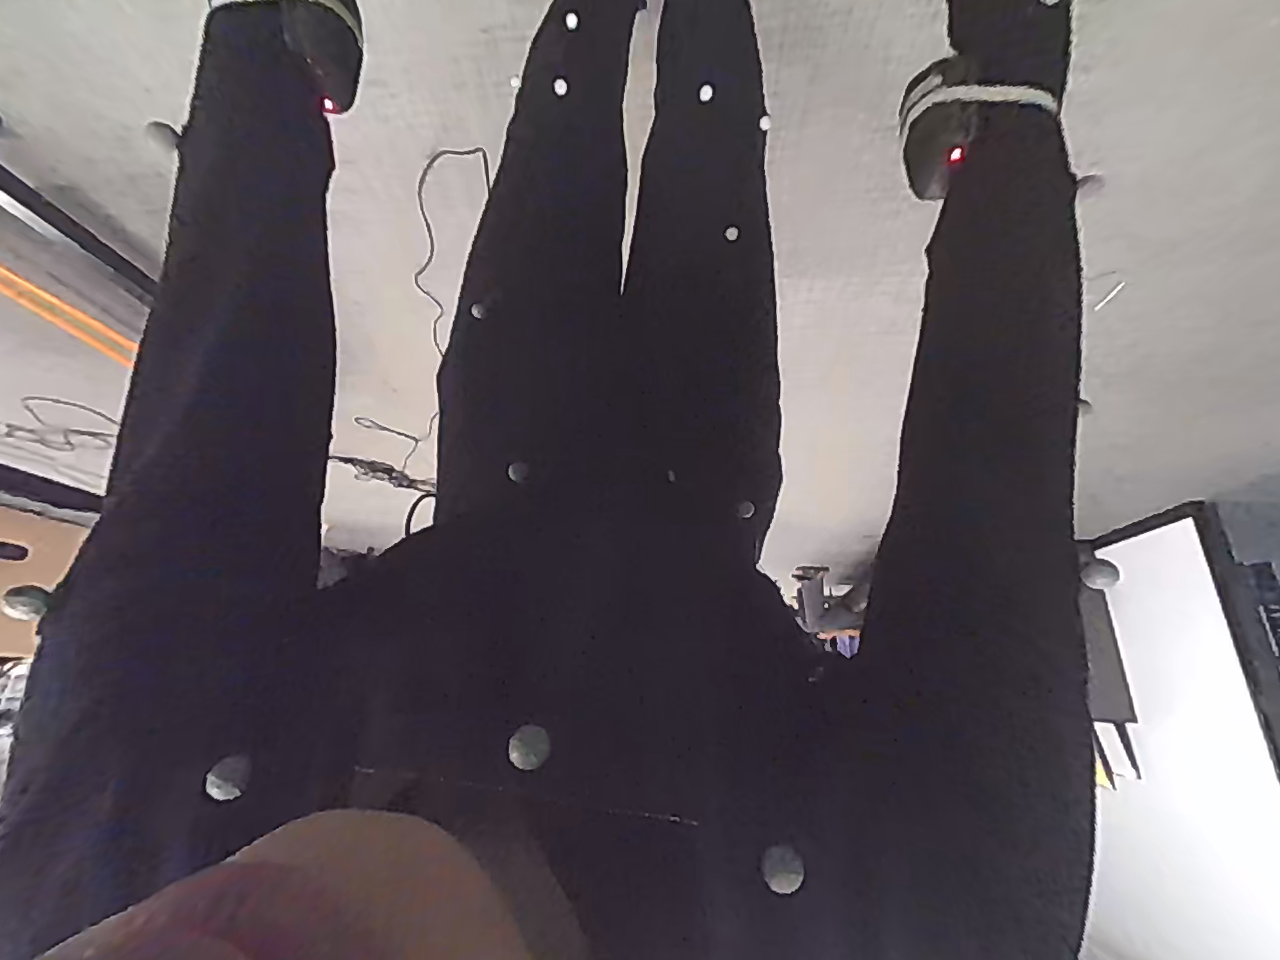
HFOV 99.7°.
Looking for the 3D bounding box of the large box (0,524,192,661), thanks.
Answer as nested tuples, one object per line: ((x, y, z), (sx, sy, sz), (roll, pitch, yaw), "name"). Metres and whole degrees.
((-1.554, 0.310, 1.450), (0.408, 0.320, 0.320), (-1, 159, 7), "large box")
